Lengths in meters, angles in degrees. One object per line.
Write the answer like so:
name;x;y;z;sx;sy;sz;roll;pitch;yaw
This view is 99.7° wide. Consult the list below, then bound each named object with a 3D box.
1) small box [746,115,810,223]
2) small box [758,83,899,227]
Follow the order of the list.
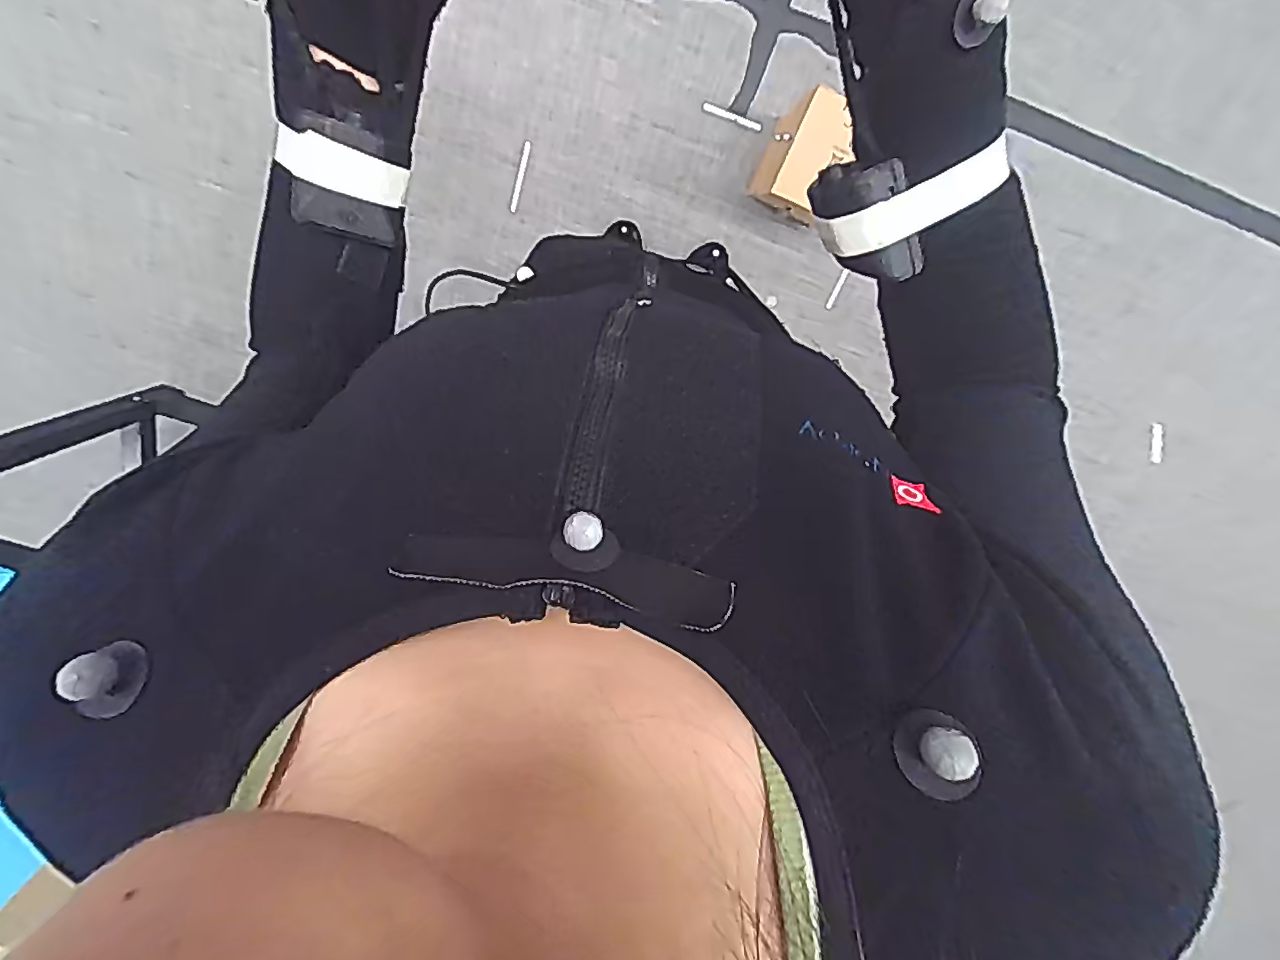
small box;0.353;-0.670;1.166;0.179;0.176;0.168;21;113;-10
small box;0.340;-0.599;1.020;0.168;0.176;0.179;22;115;-8
